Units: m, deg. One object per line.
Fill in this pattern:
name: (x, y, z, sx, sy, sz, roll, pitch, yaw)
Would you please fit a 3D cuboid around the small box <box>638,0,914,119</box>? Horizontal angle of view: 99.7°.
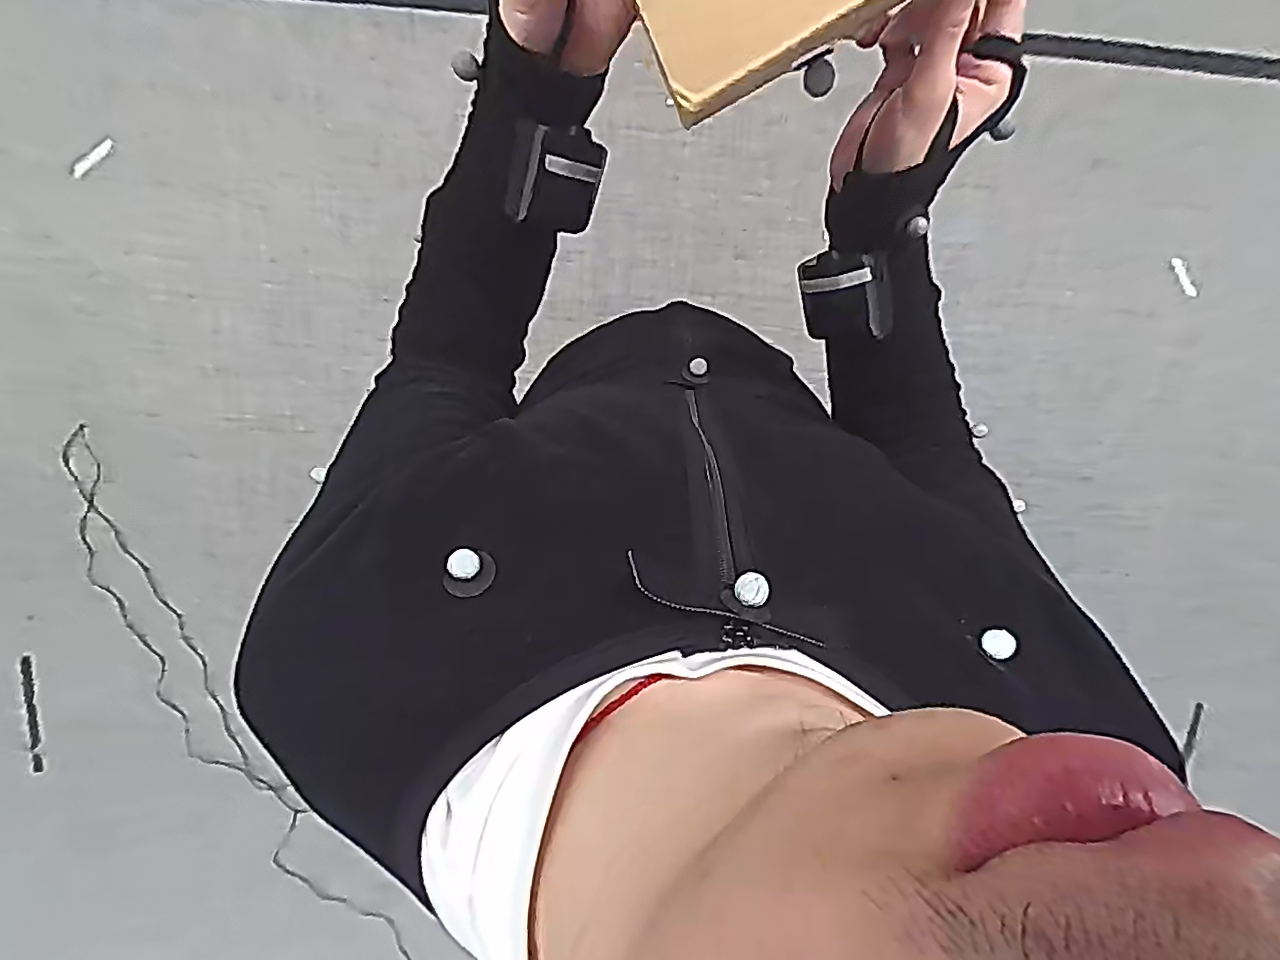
small box: (0.058, -0.270, 0.204, 0.168, 0.176, 0.179, -22, 117, 19)
